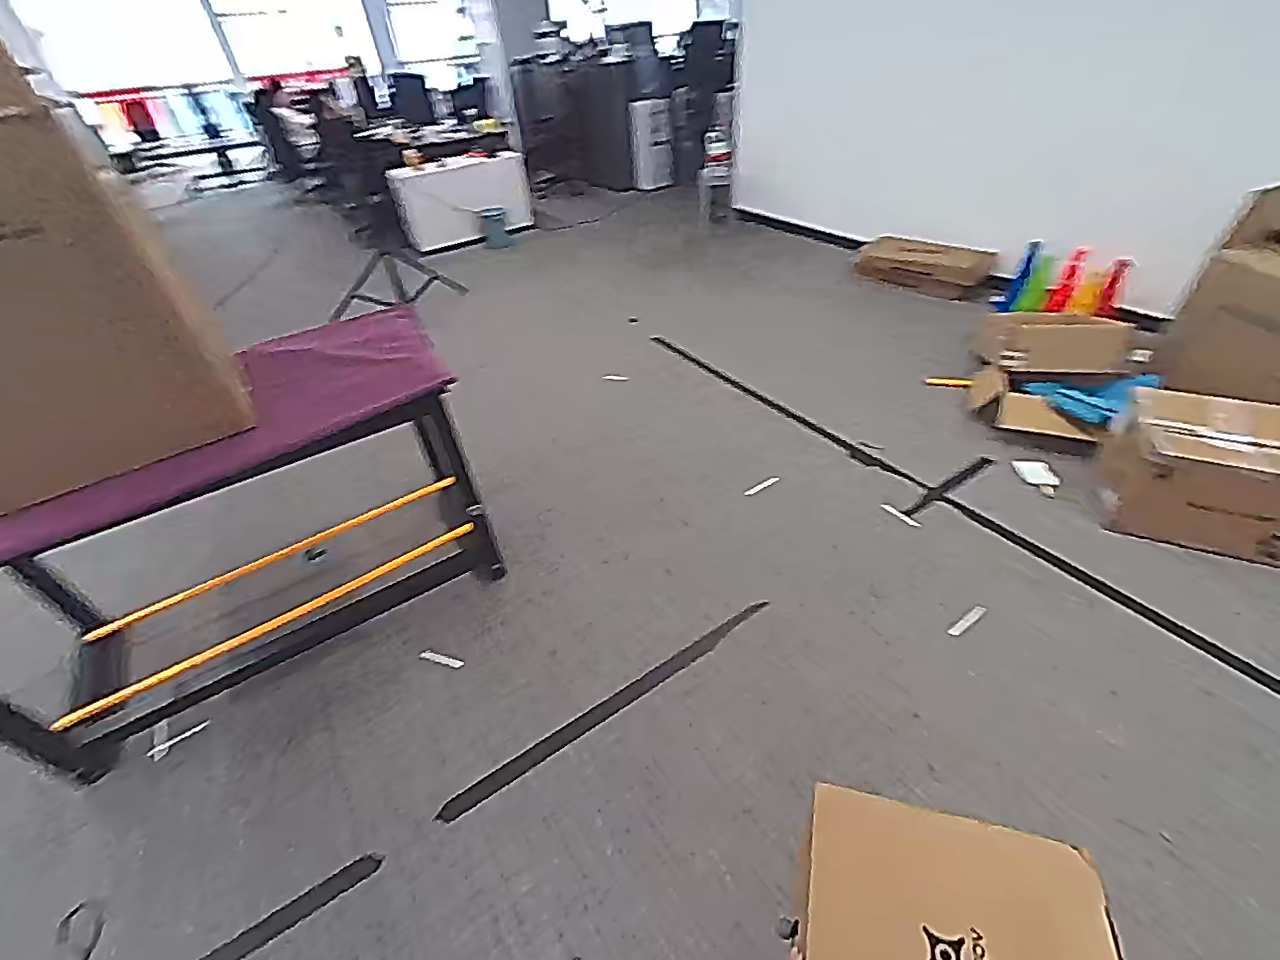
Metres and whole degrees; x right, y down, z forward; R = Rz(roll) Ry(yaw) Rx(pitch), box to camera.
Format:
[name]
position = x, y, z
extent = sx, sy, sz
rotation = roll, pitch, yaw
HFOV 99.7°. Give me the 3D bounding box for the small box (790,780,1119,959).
[small box]
position = 0.195, 0.341, 0.369
extent = 0.179, 0.176, 0.168
rotation = 6, 43, 16
